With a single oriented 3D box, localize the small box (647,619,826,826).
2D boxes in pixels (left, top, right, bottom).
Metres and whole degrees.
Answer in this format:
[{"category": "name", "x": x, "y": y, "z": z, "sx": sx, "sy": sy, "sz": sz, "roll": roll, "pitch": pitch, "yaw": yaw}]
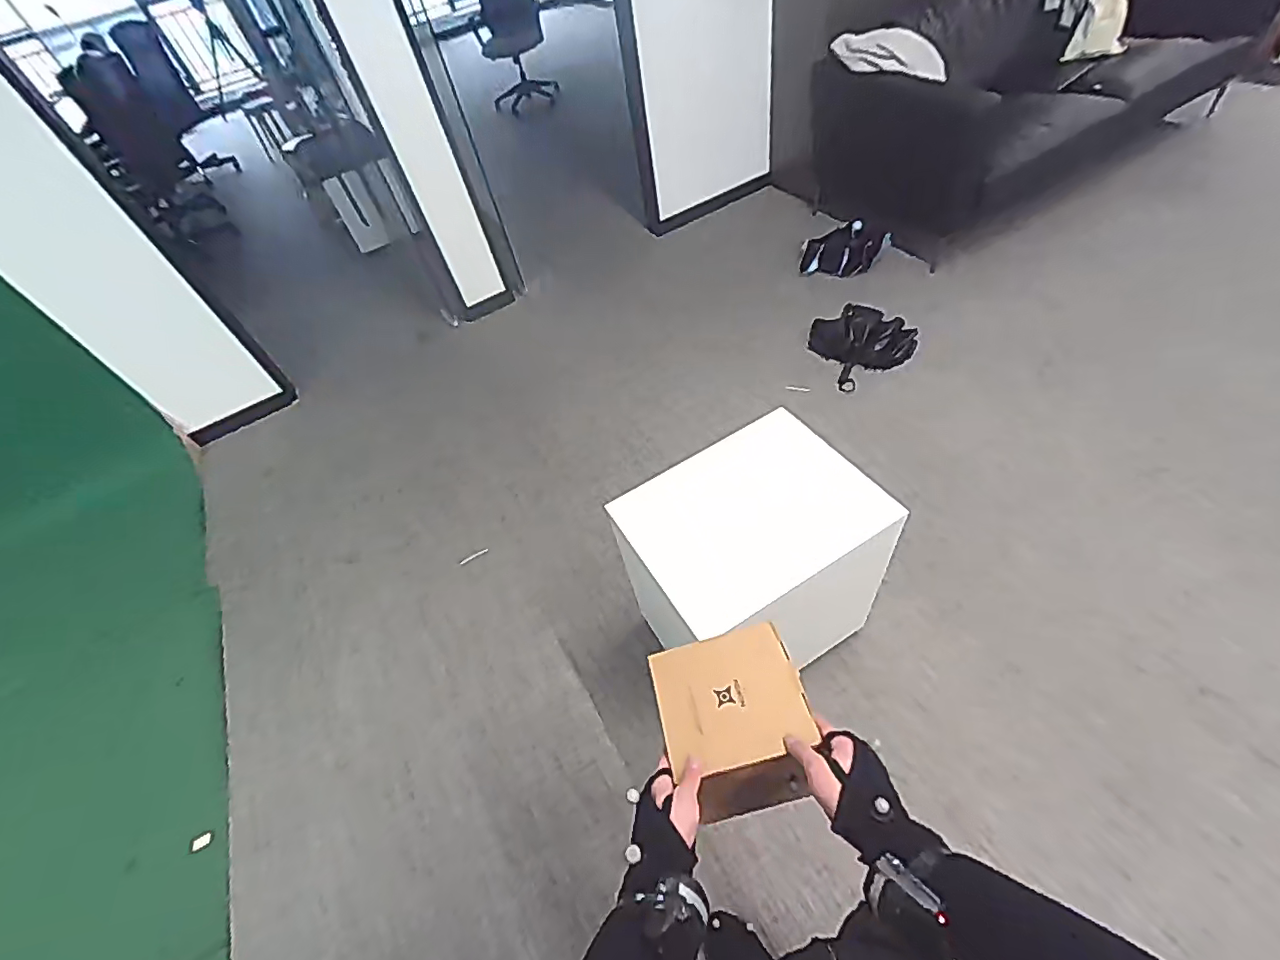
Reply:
[{"category": "small box", "x": 0.122, "y": 0.313, "z": 0.698, "sx": 0.179, "sy": 0.176, "sz": 0.168, "roll": -17, "pitch": 40, "yaw": 1}]
